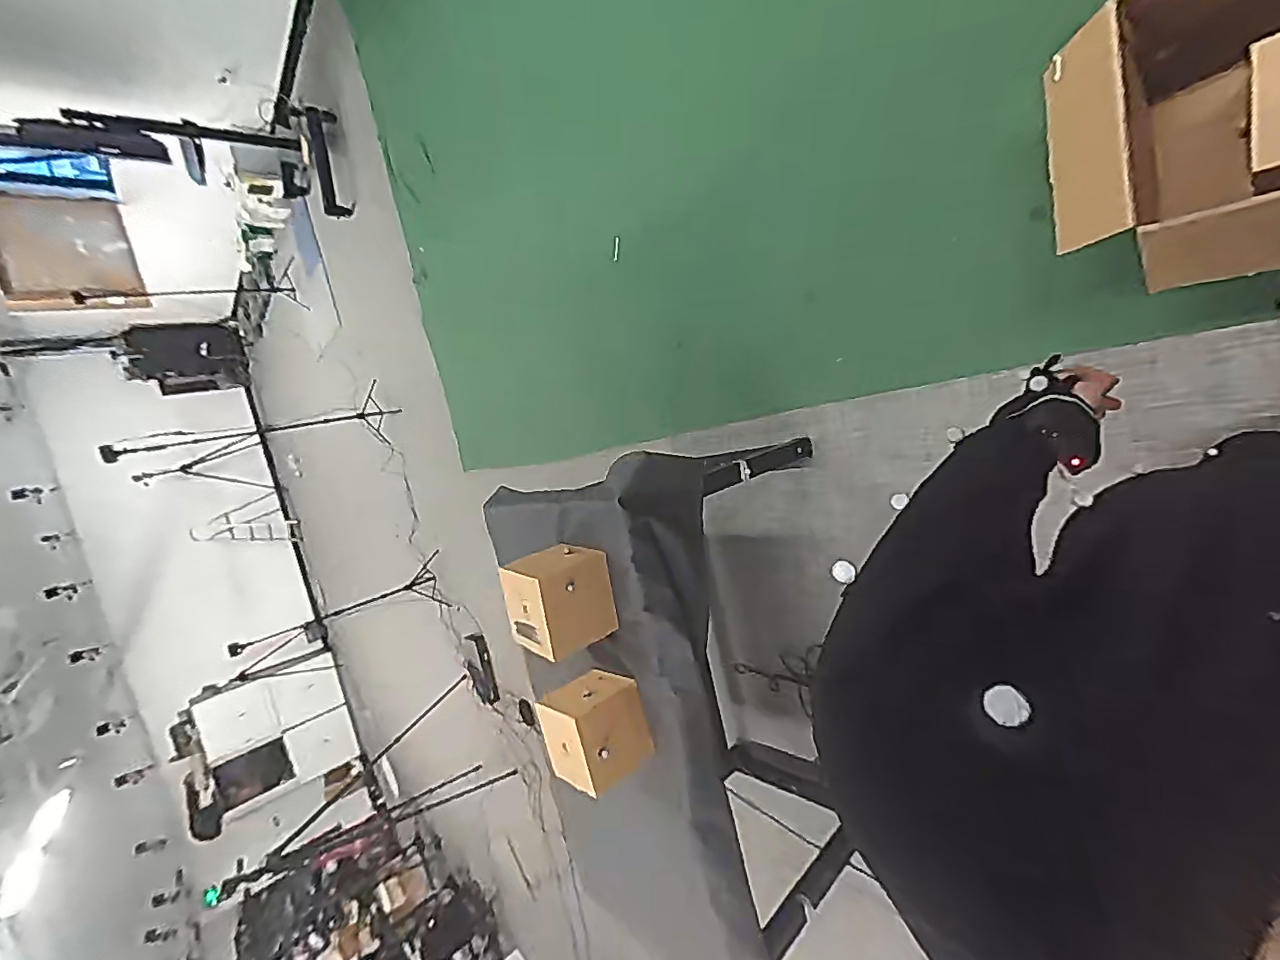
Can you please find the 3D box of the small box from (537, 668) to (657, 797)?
[{"bbox_3d":[-0.091,0.531,1.168,0.168,0.176,0.179,-11,97,50],"label":"small box"}]
